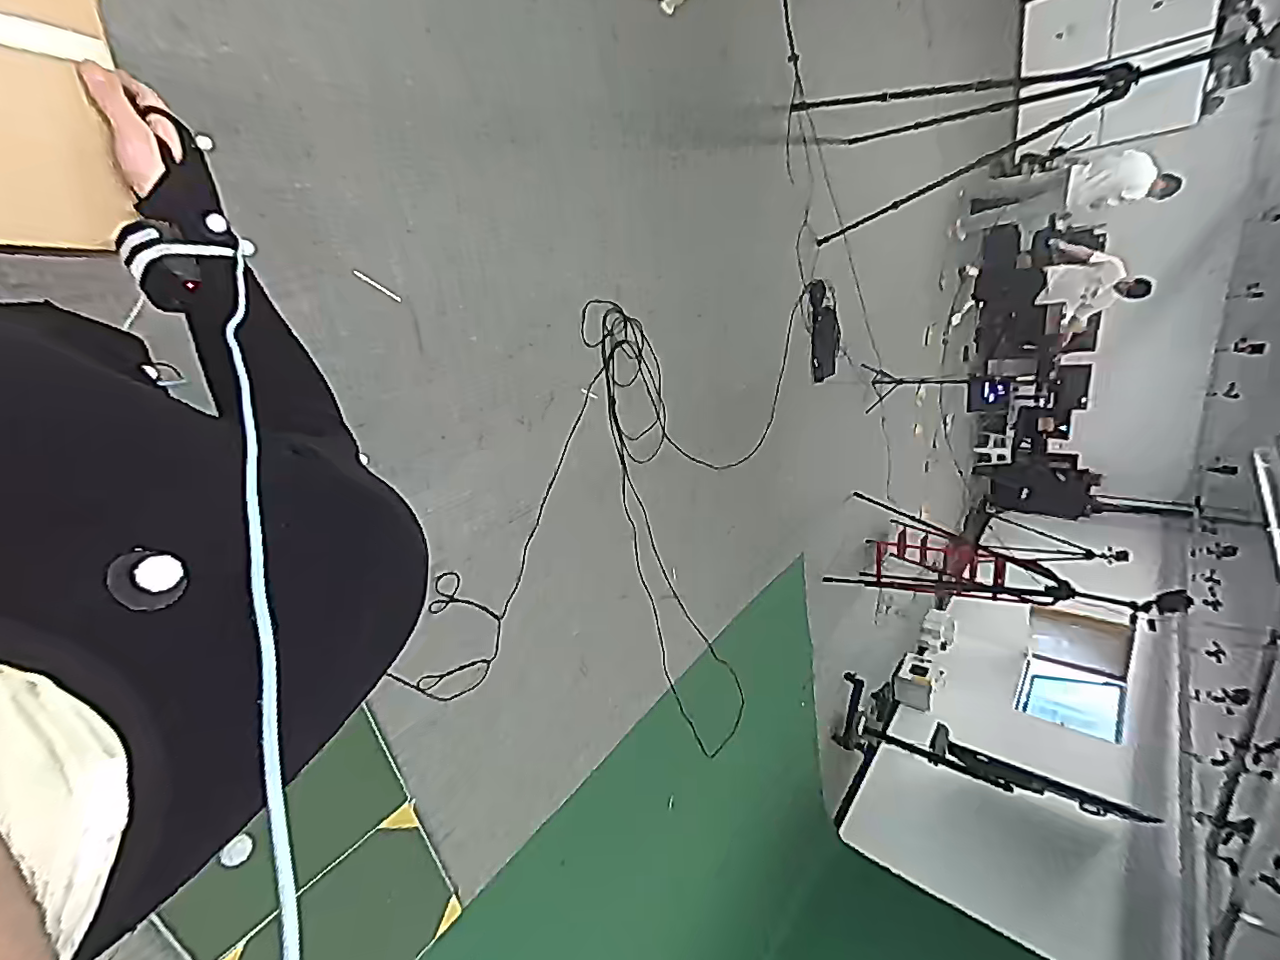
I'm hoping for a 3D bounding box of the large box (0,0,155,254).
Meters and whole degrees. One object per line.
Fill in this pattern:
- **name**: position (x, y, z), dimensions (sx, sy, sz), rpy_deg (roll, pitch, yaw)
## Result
- **large box**: position (-0.713, -0.356, 0.427), dimensions (0.408, 0.320, 0.320), rpy_deg (-20, 120, -46)
